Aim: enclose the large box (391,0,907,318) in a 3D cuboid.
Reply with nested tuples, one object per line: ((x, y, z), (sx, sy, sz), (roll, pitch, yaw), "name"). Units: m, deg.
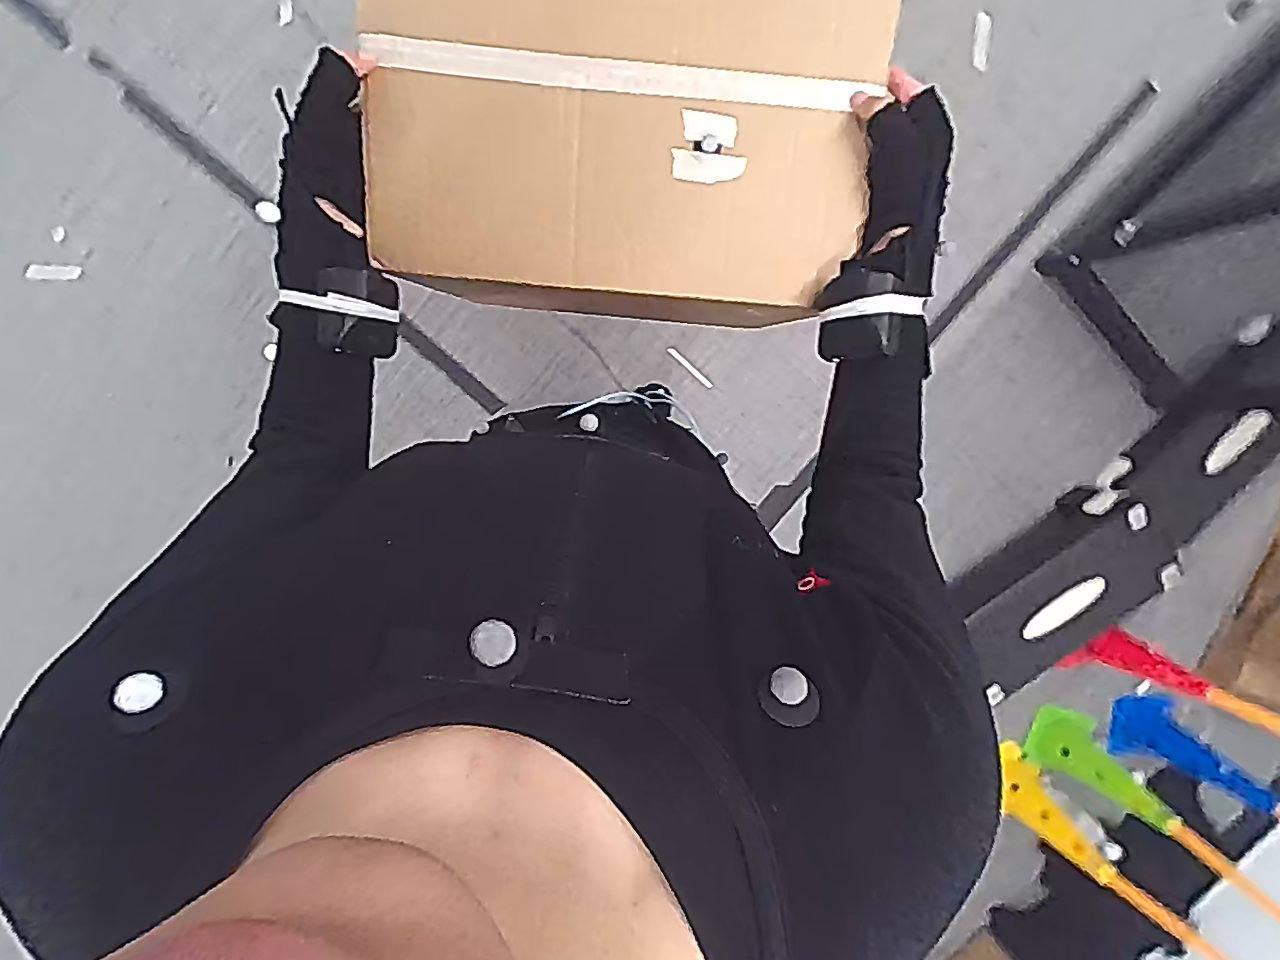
((-0.003, -0.353, 0.573), (0.408, 0.320, 0.320), (4, 104, -4), "large box")
